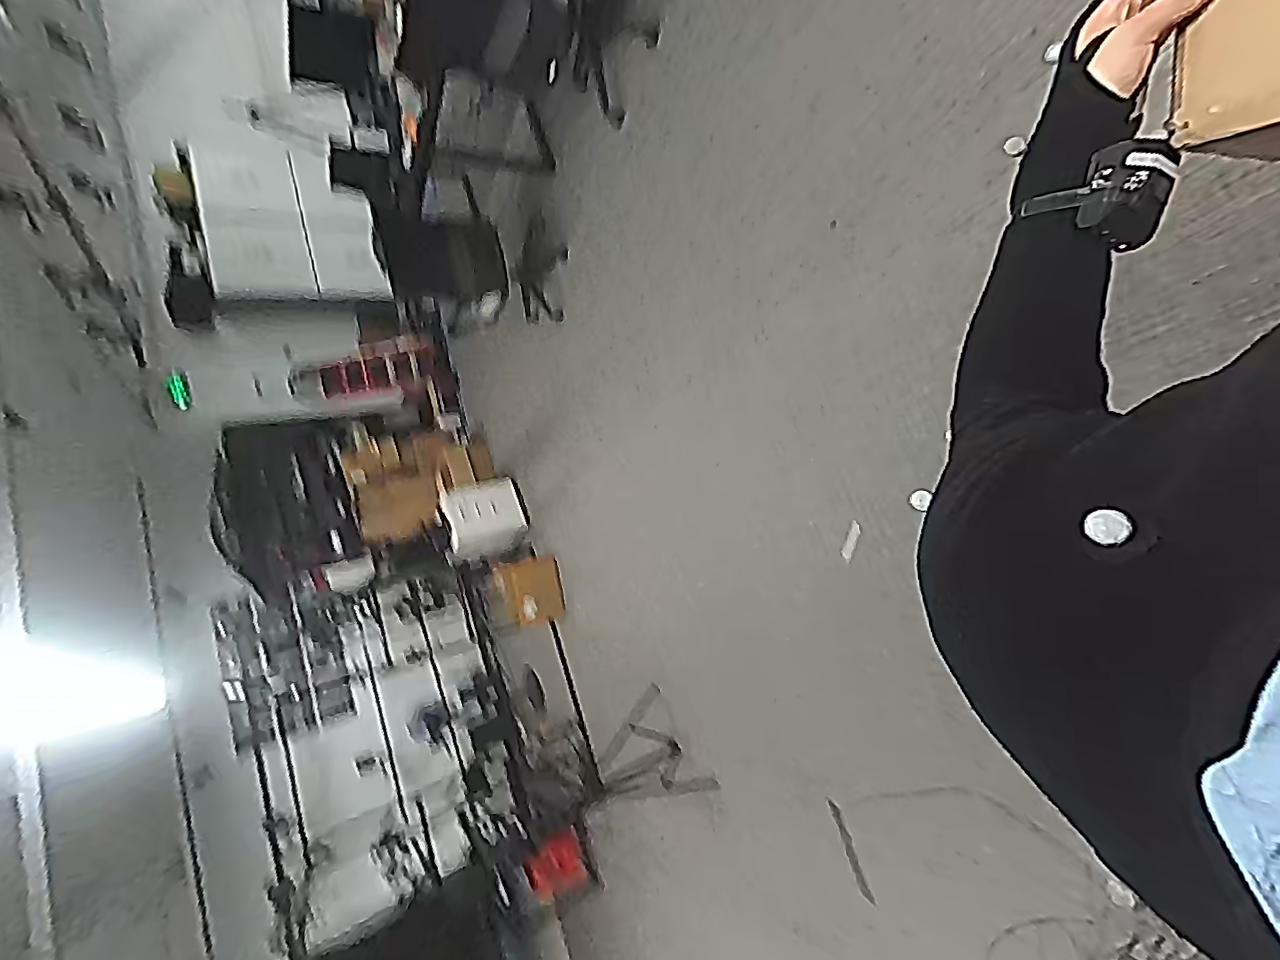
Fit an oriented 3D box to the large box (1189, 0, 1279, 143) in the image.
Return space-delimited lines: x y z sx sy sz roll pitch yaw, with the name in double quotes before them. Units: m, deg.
"large box" 0.613 -0.417 0.274 0.408 0.320 0.320 13 116 57
